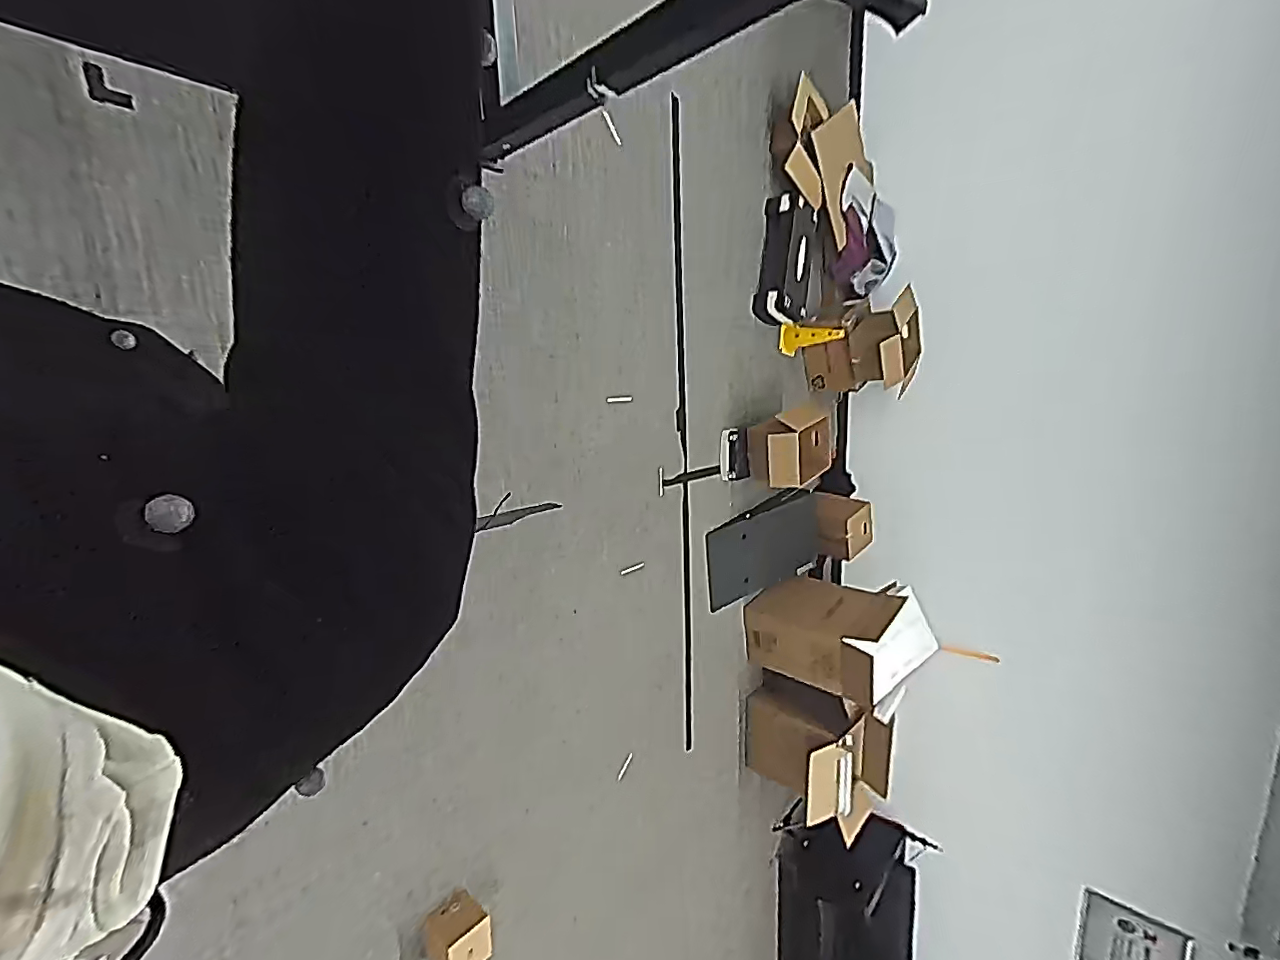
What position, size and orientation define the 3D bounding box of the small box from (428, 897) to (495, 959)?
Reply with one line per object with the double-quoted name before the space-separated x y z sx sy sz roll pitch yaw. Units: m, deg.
"small box" -0.638 1.660 1.933 0.168 0.176 0.179 -11 103 -49
